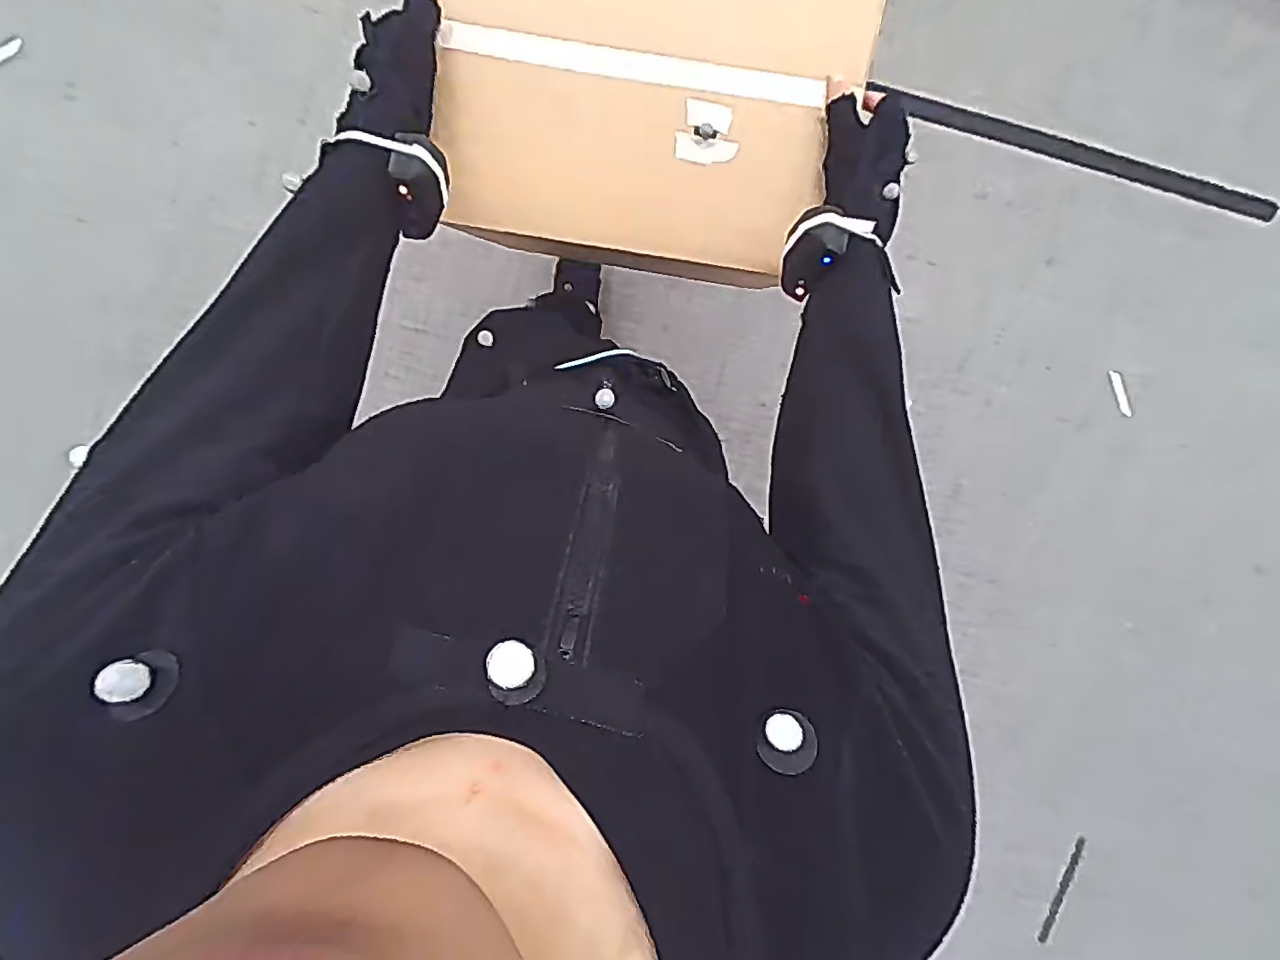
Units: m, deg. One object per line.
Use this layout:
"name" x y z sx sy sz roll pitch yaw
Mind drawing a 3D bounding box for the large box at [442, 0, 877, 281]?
"large box" 0.011 -0.436 0.658 0.408 0.320 0.320 8 109 -2
